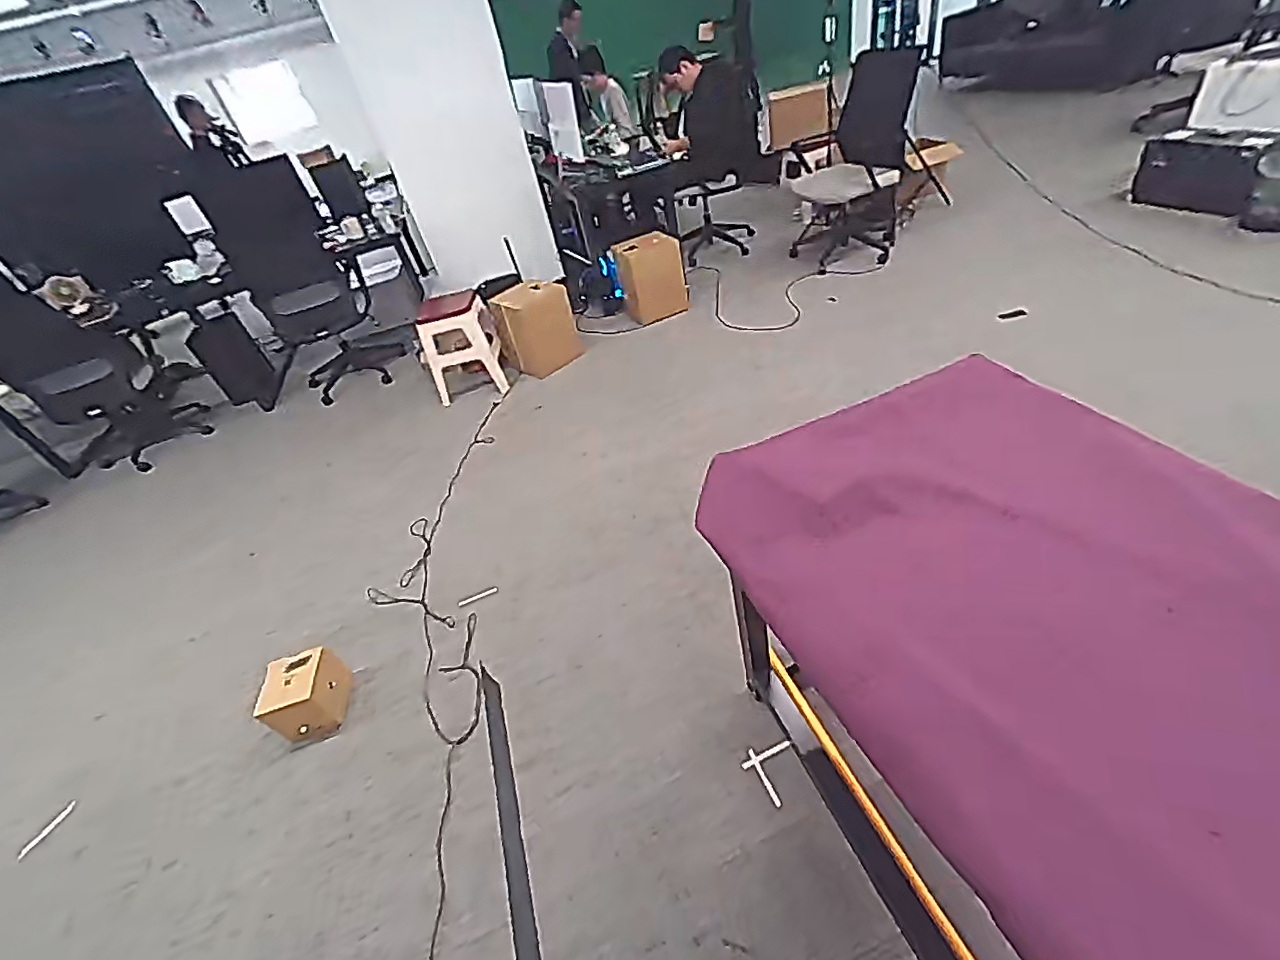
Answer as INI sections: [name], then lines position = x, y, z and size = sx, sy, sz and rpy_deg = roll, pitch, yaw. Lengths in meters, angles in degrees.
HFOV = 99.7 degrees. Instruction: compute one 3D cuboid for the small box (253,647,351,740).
[small box]
position = -0.991, 0.634, 1.605
size = 0.168, 0.176, 0.179
rpy_deg = -18, 41, -2
